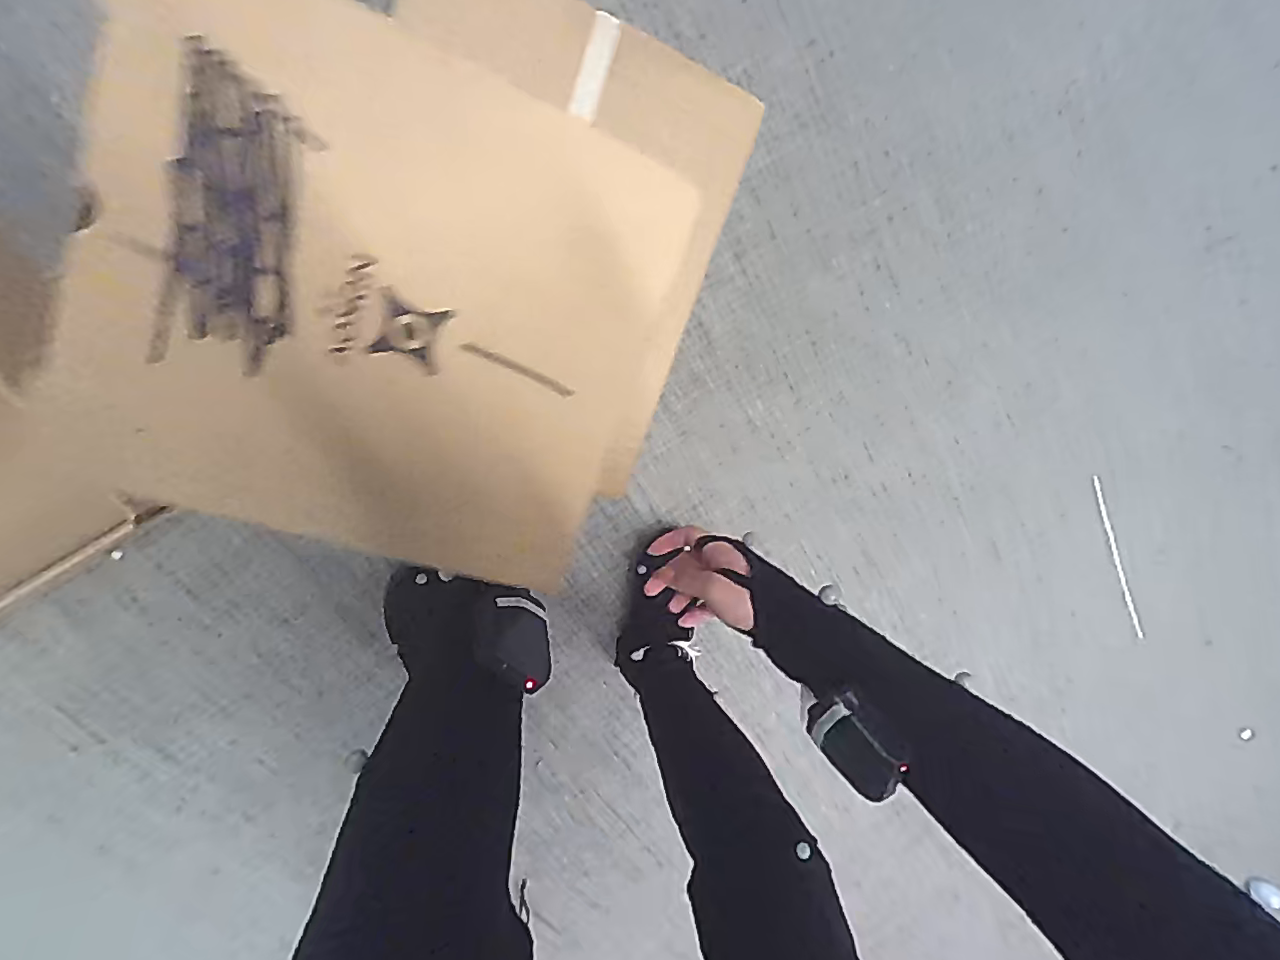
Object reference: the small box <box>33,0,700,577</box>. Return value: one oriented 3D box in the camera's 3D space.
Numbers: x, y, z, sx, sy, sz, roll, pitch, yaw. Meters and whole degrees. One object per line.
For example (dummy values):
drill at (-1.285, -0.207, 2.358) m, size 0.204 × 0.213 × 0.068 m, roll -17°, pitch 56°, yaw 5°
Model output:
small box at (-0.102, -0.080, 0.257) m, size 0.179 × 0.176 × 0.168 m, roll 18°, pitch 101°, yaw -17°

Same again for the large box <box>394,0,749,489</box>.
large box at (-0.130, -0.248, 0.638) m, size 0.320 × 0.320 × 0.408 m, roll 16°, pitch 101°, yaw -17°
